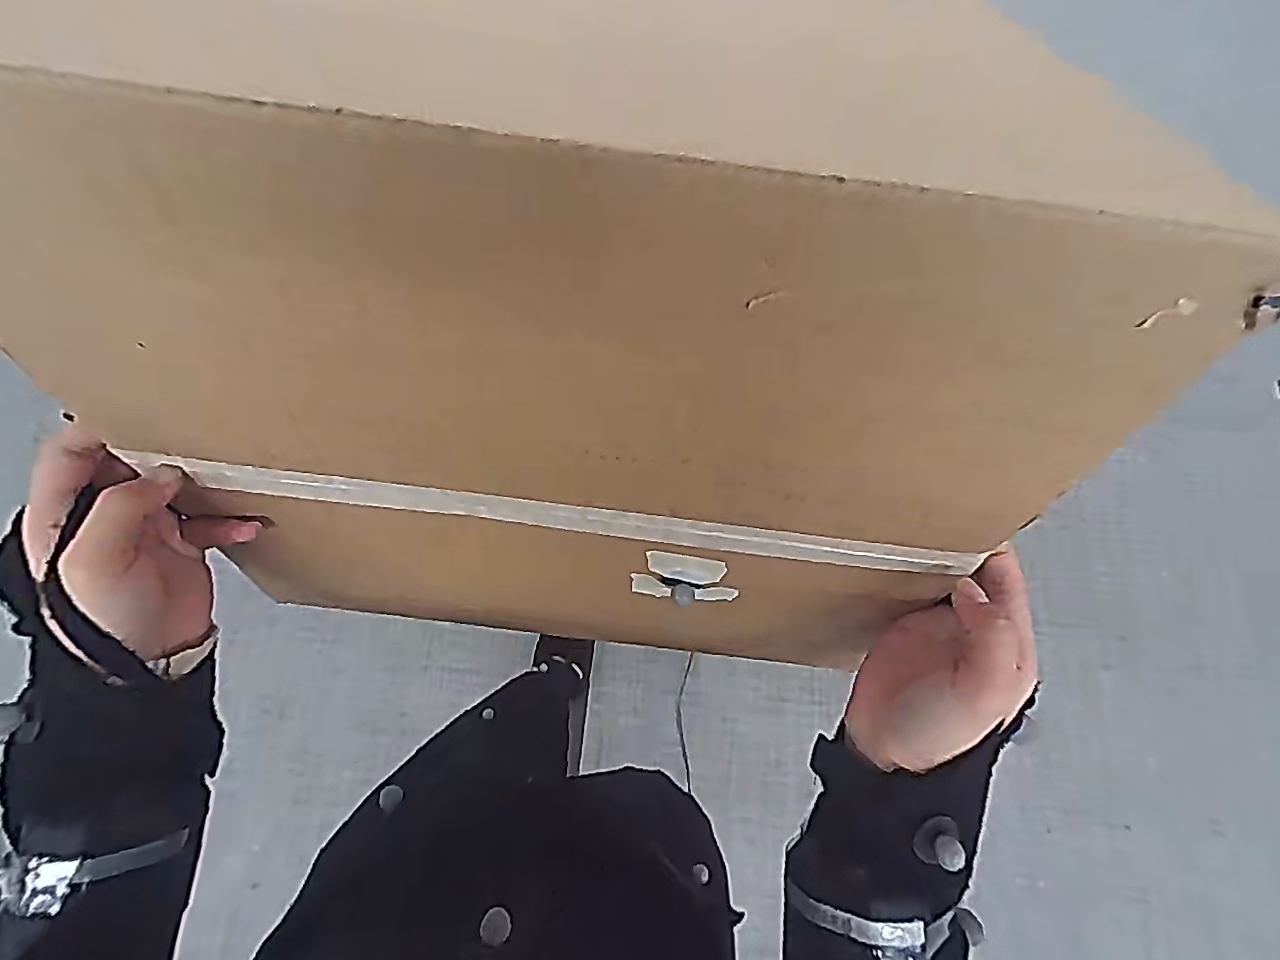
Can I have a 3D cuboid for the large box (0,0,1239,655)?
[{"bbox_3d":[-0.029,-0.107,0.359,0.408,0.320,0.320,6,52,-1],"label":"large box"}]
